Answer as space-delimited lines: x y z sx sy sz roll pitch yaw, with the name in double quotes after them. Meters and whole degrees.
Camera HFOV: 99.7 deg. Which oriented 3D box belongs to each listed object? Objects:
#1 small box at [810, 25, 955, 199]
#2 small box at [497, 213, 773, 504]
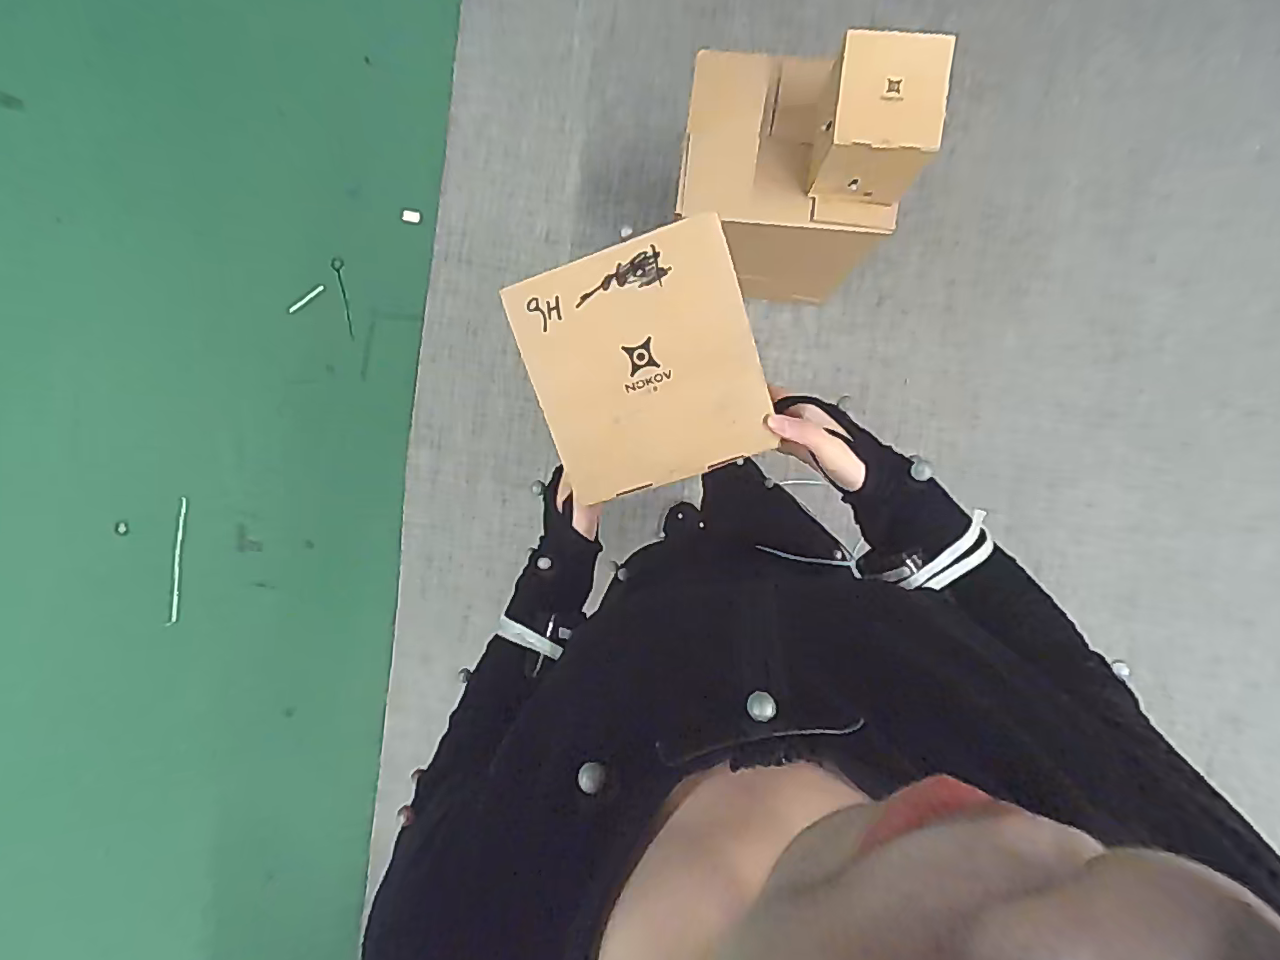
0.393 -0.604 0.906 0.168 0.176 0.179 7 93 4 "small box"
0.004 -0.104 0.475 0.168 0.176 0.179 -18 103 7 "small box"
